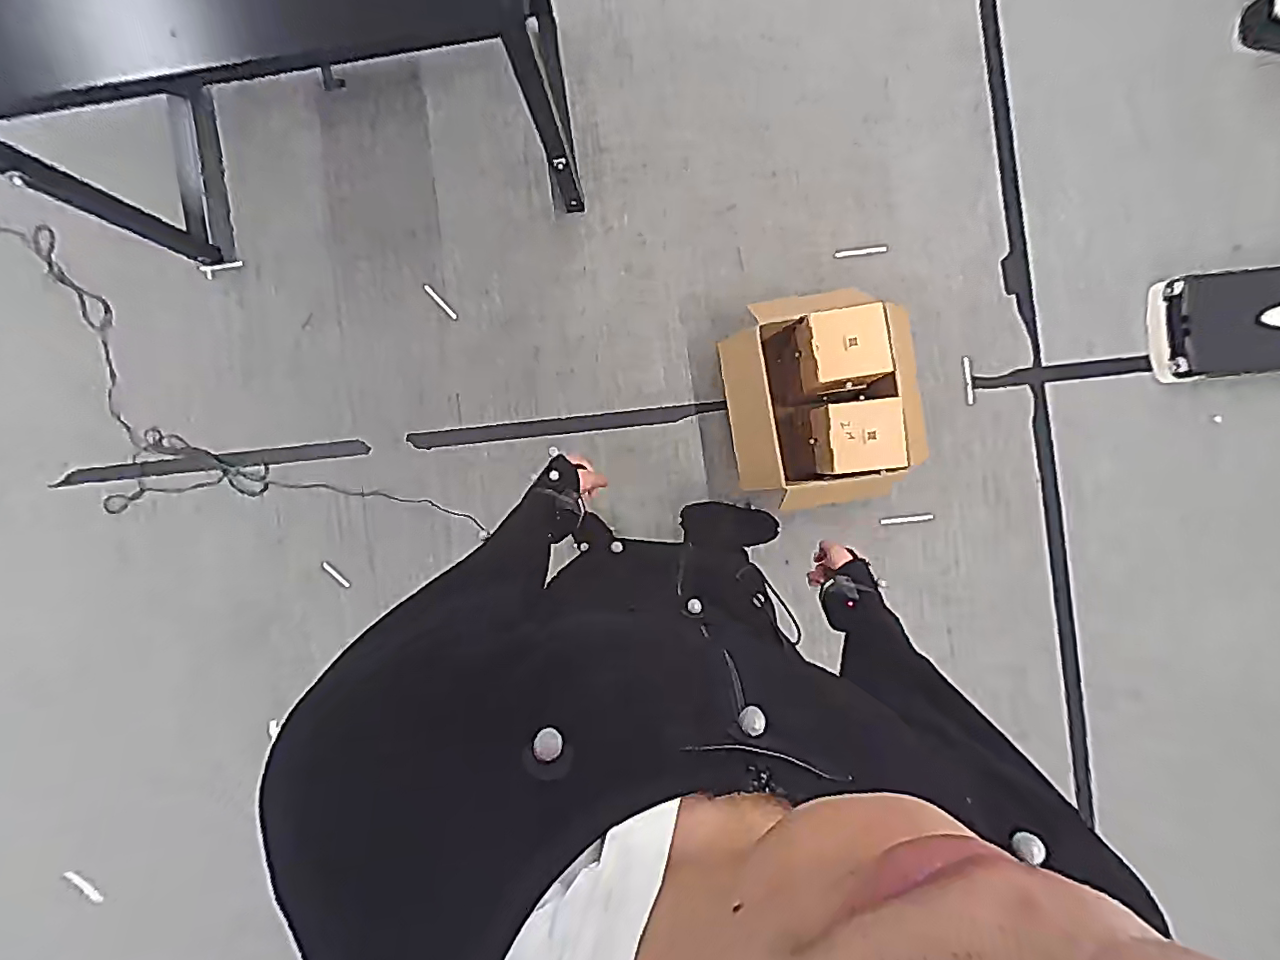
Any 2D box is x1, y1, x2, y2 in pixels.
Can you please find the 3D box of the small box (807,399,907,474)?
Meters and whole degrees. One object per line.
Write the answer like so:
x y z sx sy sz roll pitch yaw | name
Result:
0.529 -0.103 1.333 0.179 0.176 0.168 -5 91 2 | small box
